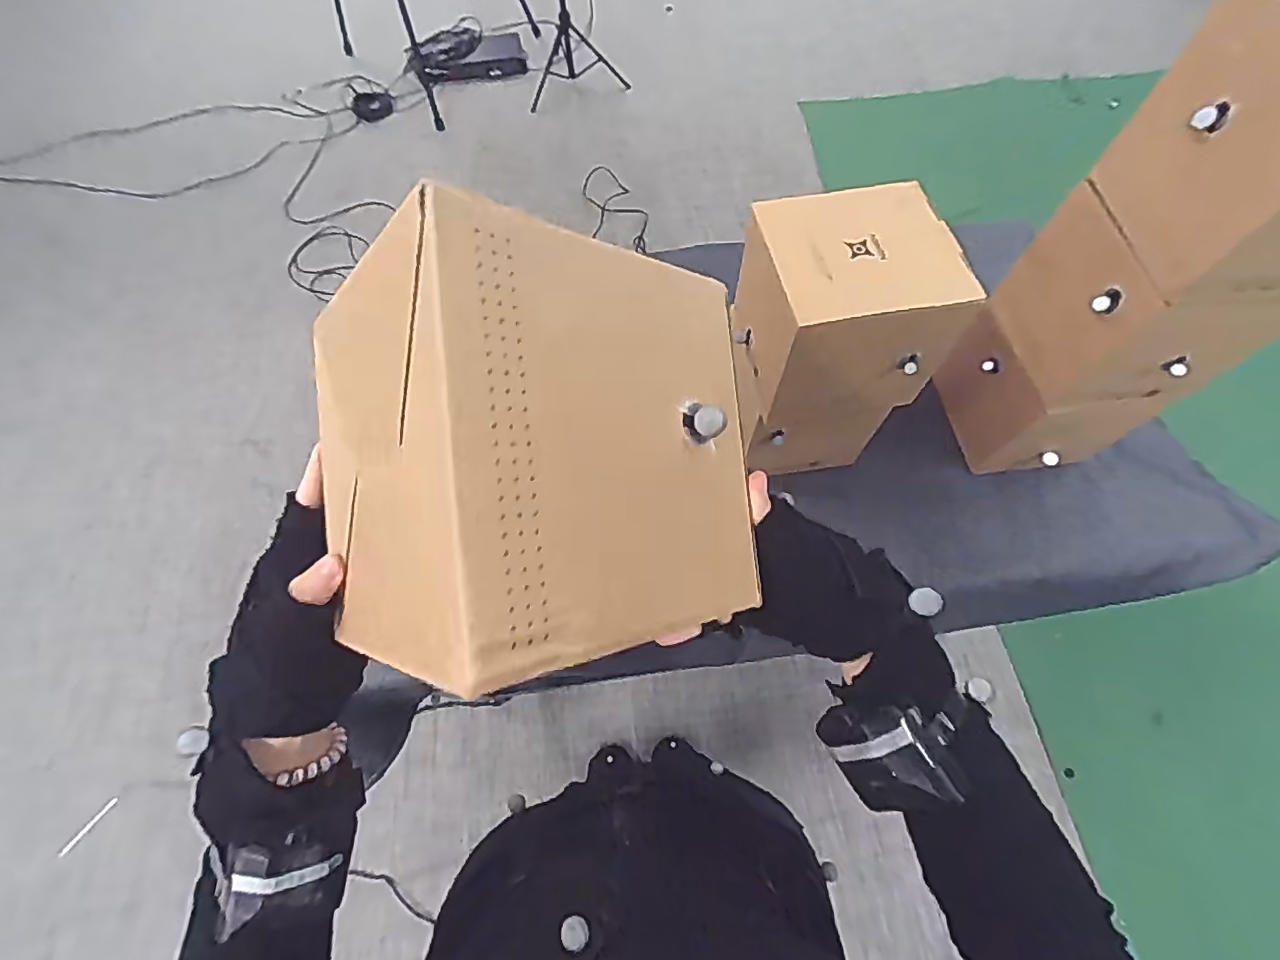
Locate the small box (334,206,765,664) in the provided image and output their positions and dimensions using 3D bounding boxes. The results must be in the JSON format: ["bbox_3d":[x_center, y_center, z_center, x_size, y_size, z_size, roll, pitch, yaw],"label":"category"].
[{"bbox_3d":[-0.056,-0.012,0.295,0.176,0.168,0.179,-5,88,-41],"label":"small box"}]

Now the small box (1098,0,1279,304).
[{"bbox_3d":[0.529,-0.267,0.432,0.168,0.176,0.179,-3,64,1],"label":"small box"}]

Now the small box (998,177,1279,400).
[{"bbox_3d":[0.535,-0.198,0.581,0.168,0.176,0.179,-5,64,0],"label":"small box"}]

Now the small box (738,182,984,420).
[{"bbox_3d":[0.215,-0.184,0.586,0.179,0.176,0.168,-9,64,-2],"label":"small box"}]
